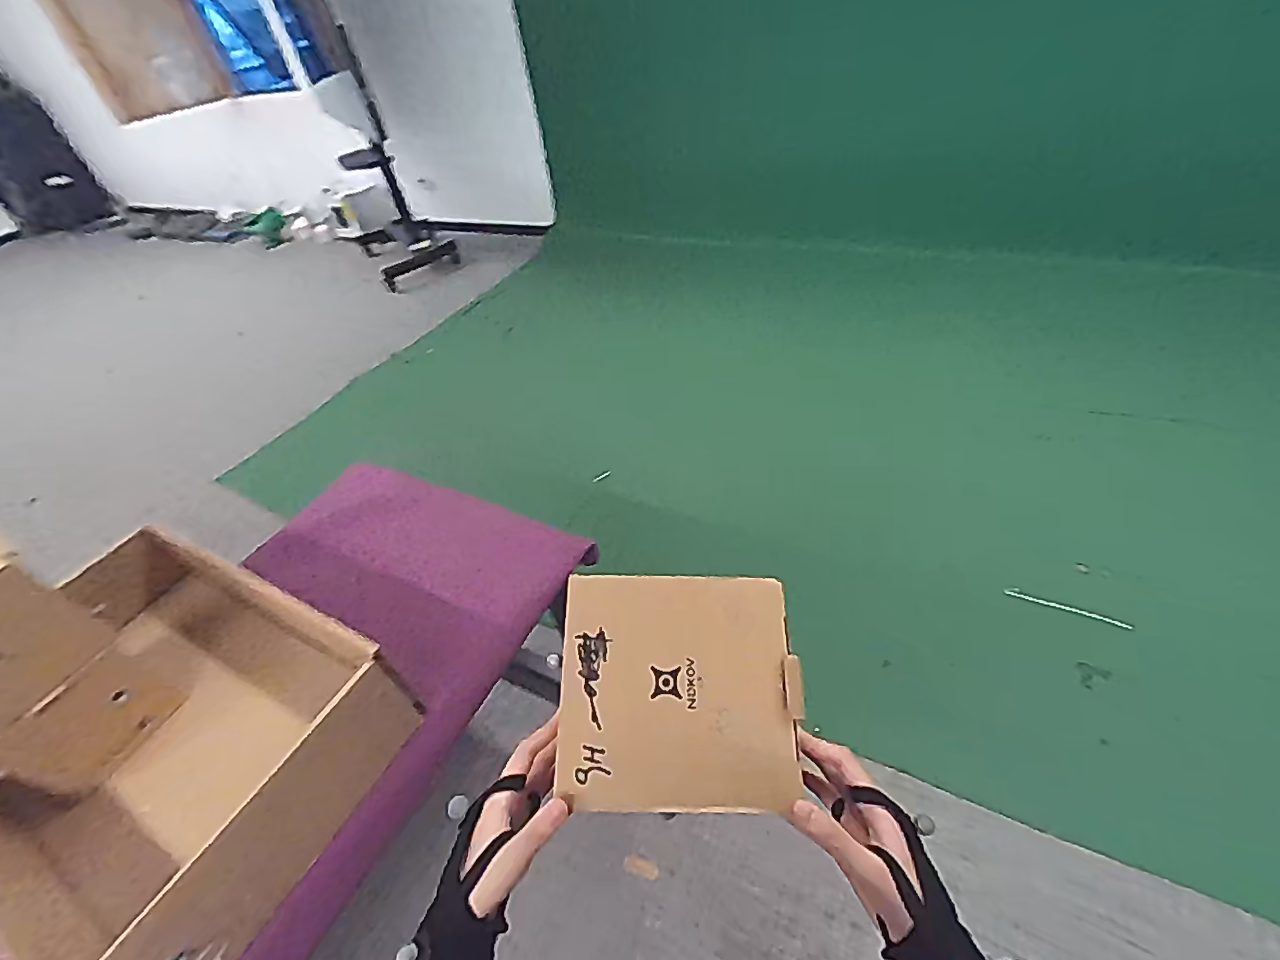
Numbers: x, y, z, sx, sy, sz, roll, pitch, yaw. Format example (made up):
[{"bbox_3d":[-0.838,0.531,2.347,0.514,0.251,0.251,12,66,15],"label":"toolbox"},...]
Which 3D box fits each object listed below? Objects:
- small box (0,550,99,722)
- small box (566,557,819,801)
[{"bbox_3d":[-0.834,0.186,0.661,0.168,0.176,0.179,14,49,22],"label":"small box"},{"bbox_3d":[0.035,0.174,0.472,0.179,0.176,0.168,3,64,-1],"label":"small box"}]
